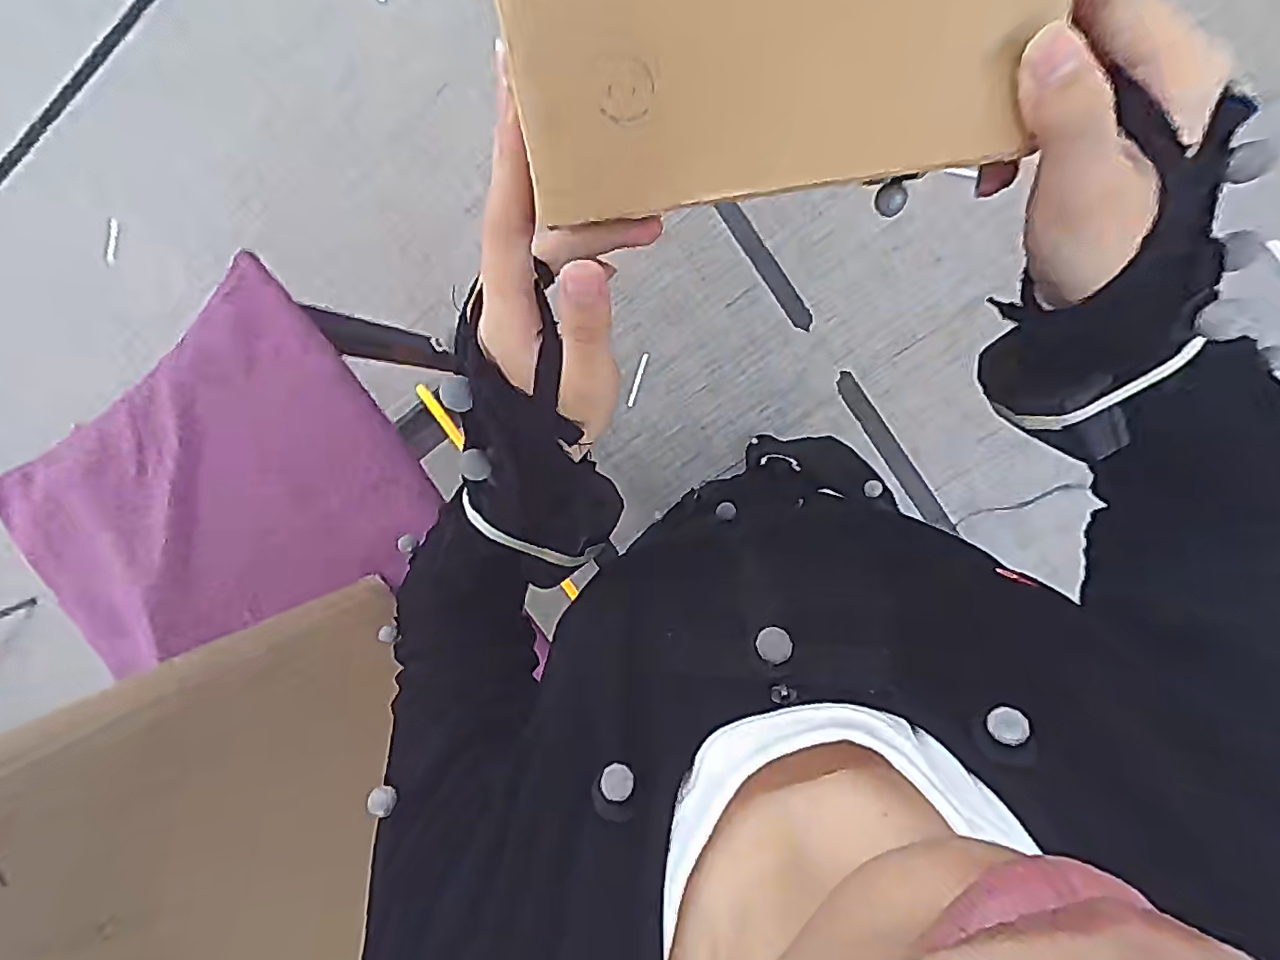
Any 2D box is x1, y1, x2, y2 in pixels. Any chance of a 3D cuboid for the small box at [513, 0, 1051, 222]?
[{"bbox_3d":[0.039,-0.211,0.234,0.179,0.176,0.168,-9,116,0],"label":"small box"}]
